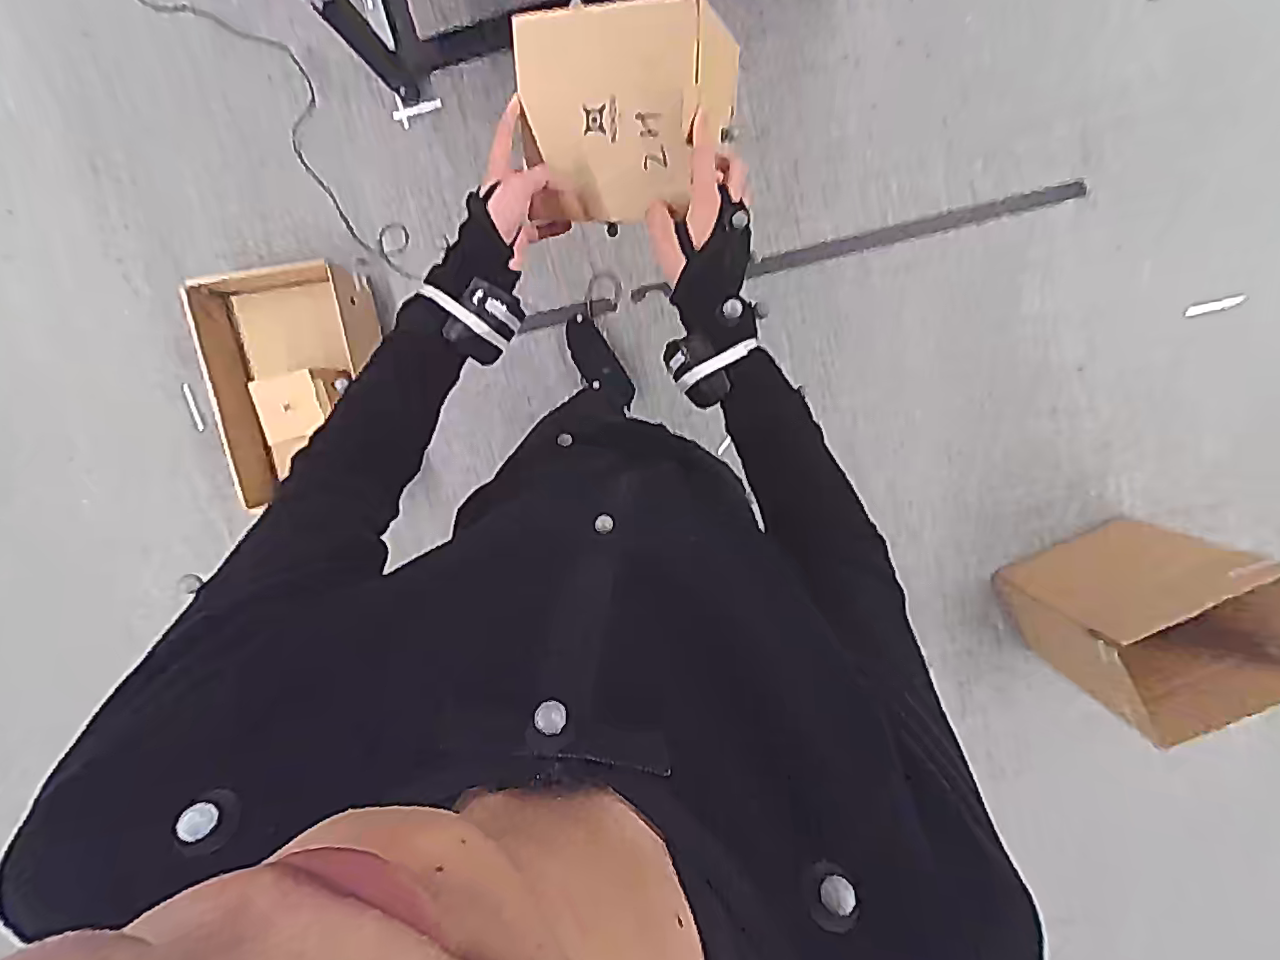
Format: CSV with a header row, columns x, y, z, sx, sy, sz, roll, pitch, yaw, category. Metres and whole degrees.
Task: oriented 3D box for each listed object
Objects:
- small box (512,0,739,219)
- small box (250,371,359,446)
x,y,z,sx,sy,sz,roll,pitch,yaw,category
-0.007,-0.361,0.554,0.179,0.176,0.168,9,118,18,small box
-0.900,-0.198,1.475,0.179,0.176,0.168,-12,99,4,small box
